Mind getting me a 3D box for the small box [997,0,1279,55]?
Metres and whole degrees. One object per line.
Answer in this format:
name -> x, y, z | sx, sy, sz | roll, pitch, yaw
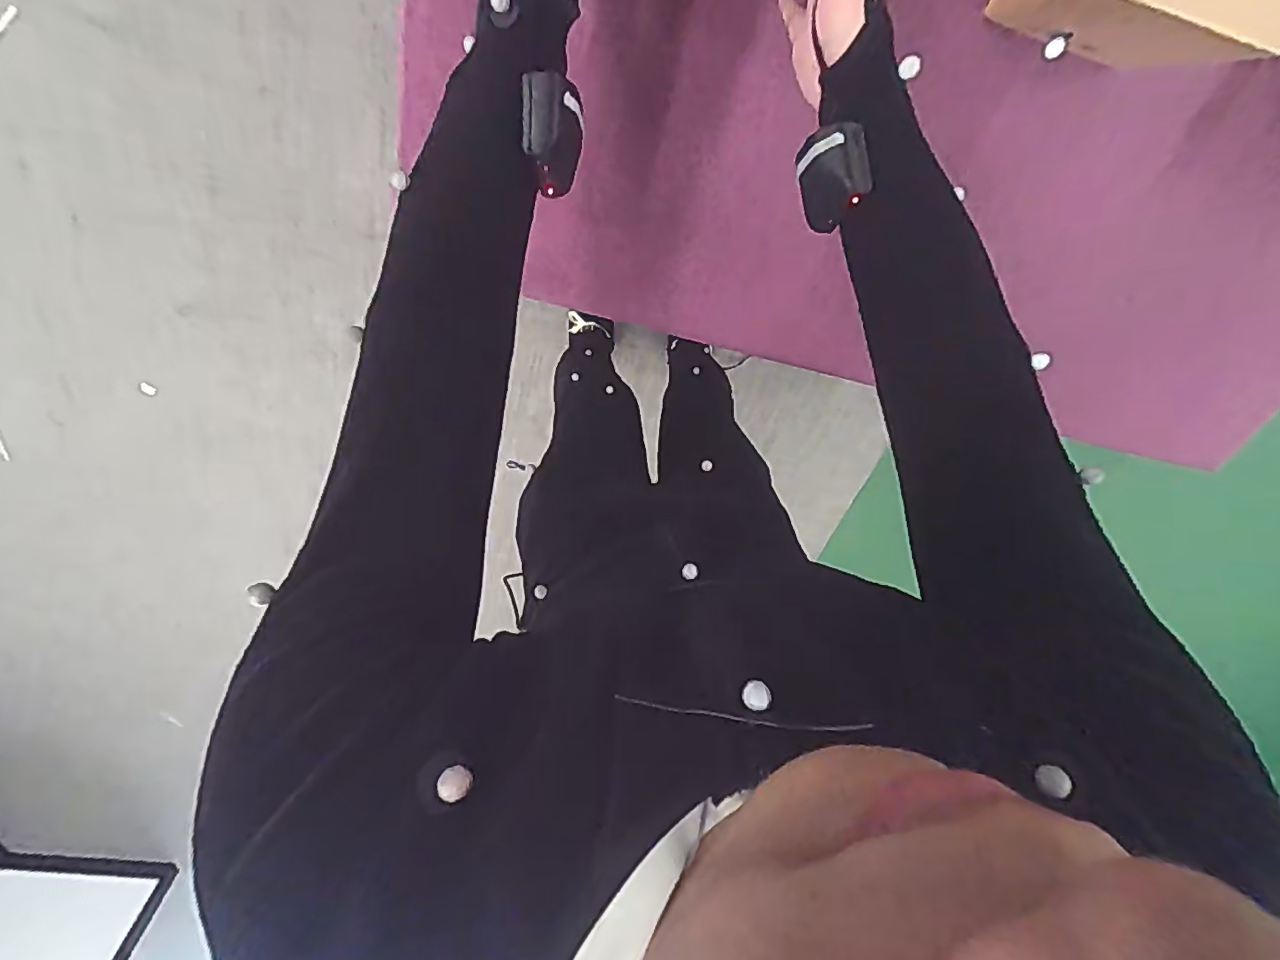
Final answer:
small box -> 0.426, -0.458, 0.412 | 0.168, 0.176, 0.179 | 11, 124, -8
